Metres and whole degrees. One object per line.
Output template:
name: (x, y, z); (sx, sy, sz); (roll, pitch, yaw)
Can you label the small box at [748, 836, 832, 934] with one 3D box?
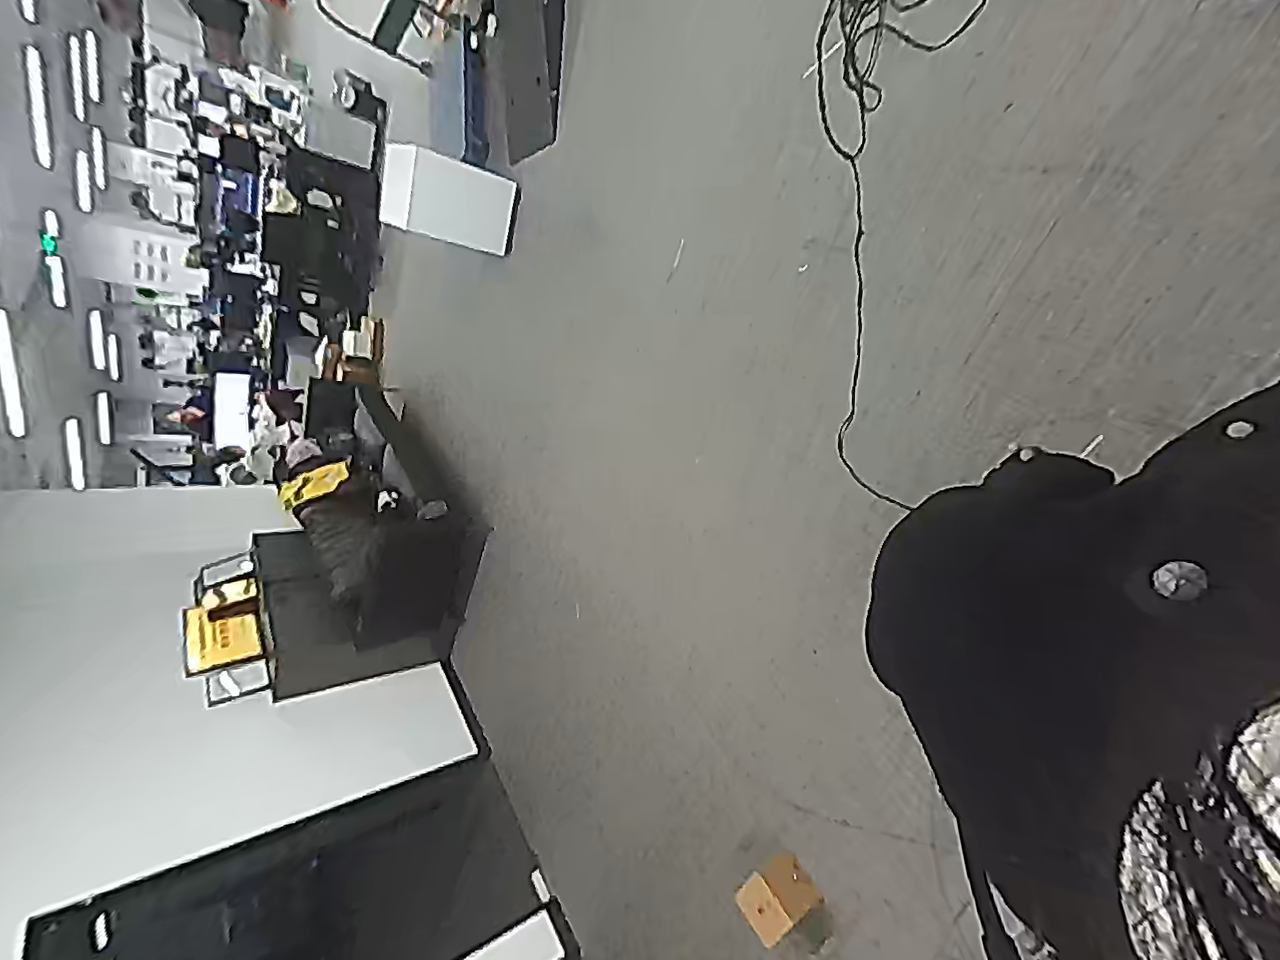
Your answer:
small box: (0.497, 1.326, 1.777); (0.168, 0.176, 0.179); (44, 124, 37)
